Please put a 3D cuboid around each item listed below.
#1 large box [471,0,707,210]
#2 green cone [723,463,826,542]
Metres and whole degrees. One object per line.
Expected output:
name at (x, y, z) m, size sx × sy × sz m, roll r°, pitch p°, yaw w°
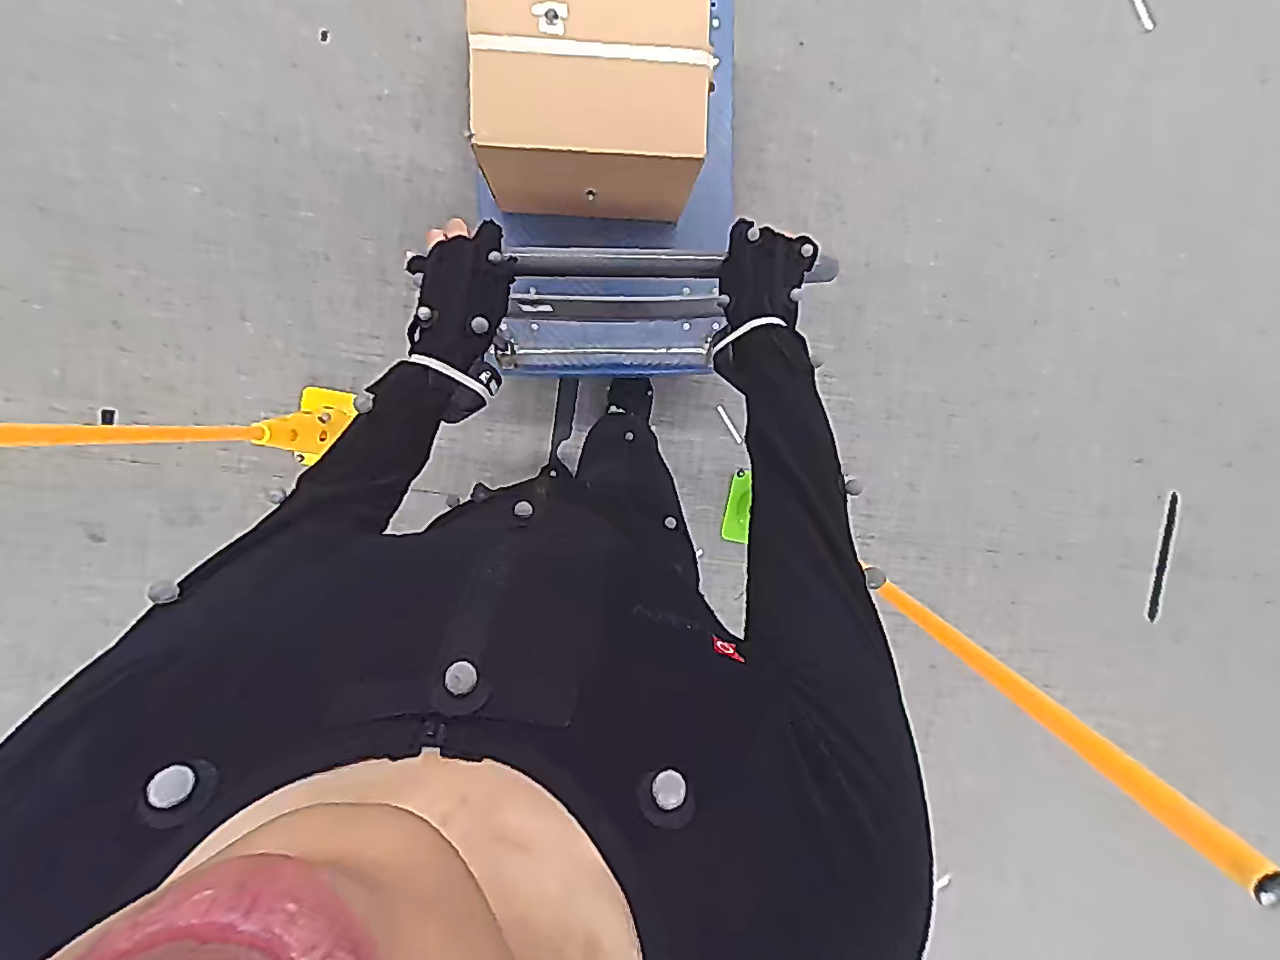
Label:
large box at (-0.093, -0.748, 1.063) m, size 0.408 × 0.320 × 0.320 m, roll 1°, pitch 97°, yaw -4°
green cone at (0.359, 0.084, 1.338) m, size 0.202 × 0.368 × 0.200 m, roll 11°, pitch 95°, yaw -7°
